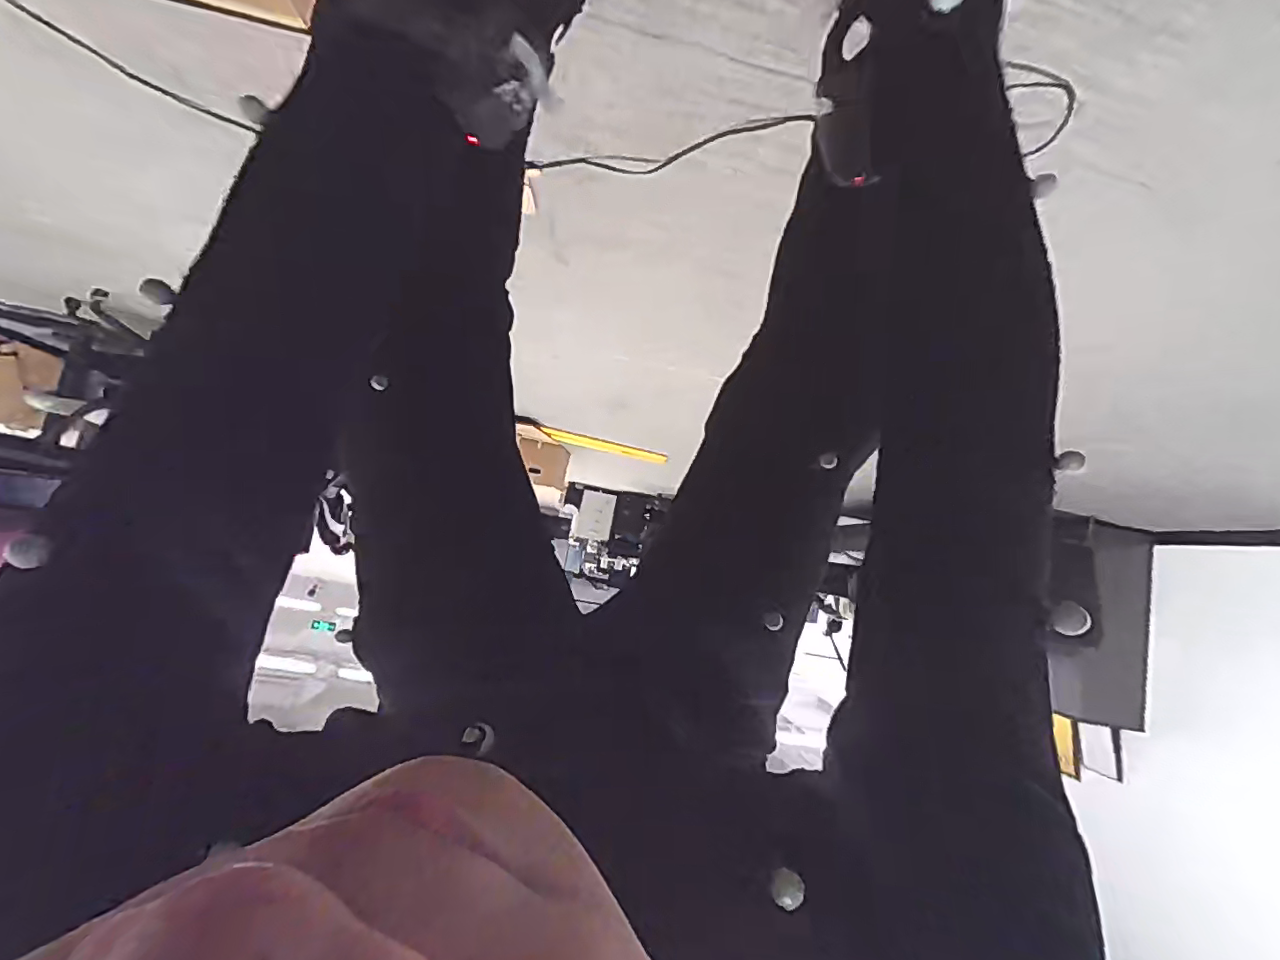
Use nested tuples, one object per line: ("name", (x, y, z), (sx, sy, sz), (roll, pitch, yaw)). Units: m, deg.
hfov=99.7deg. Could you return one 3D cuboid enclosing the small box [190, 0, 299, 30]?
("small box", (-0.413, -0.580, 0.490), (0.168, 0.176, 0.179), (11, 172, -5))
